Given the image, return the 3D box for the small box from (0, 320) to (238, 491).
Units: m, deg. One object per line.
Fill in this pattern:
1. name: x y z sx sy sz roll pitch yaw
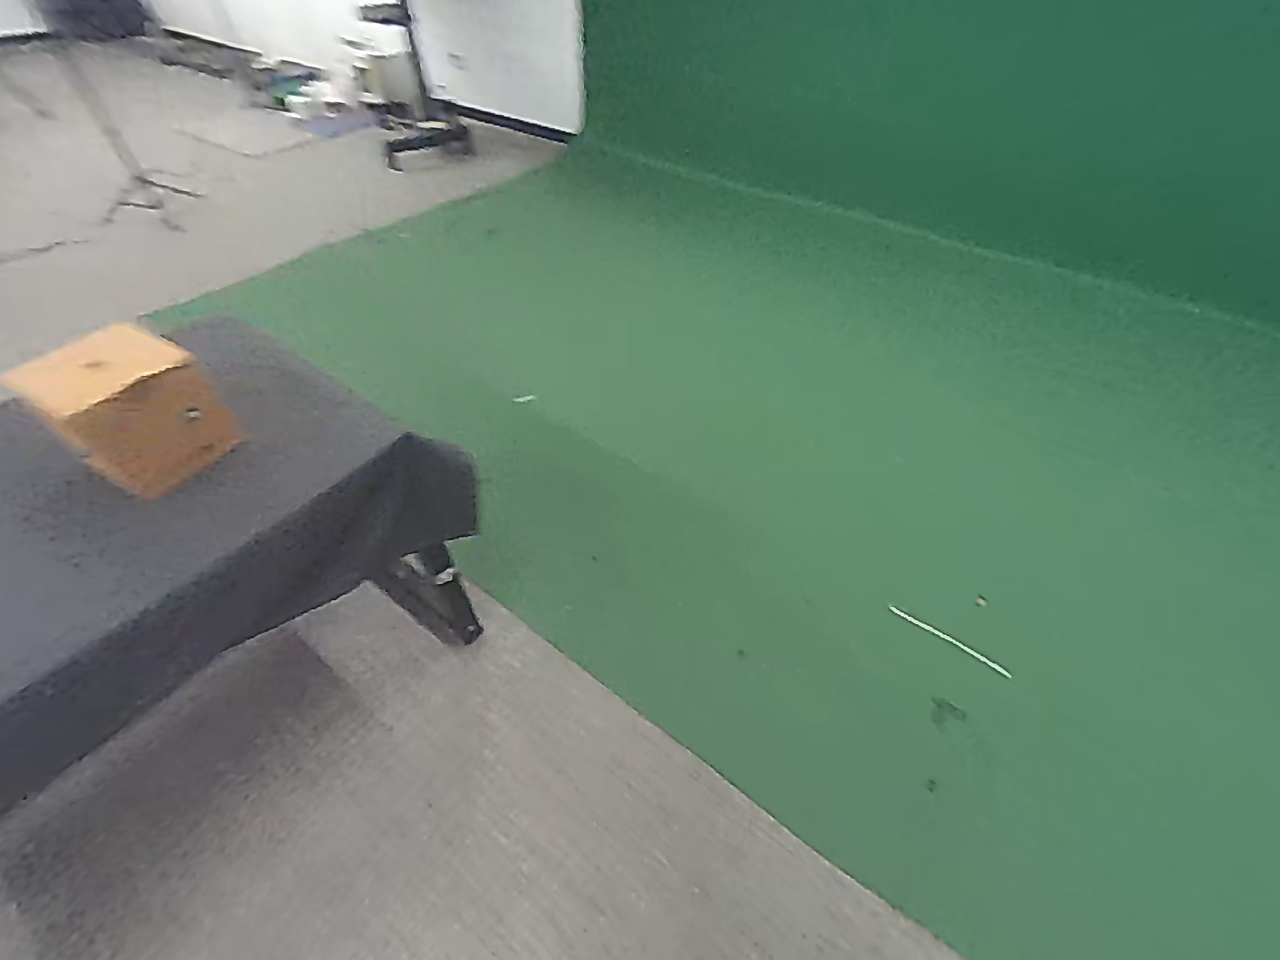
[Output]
1. small box: -0.762 -0.108 0.809 0.179 0.176 0.168 22 50 19
